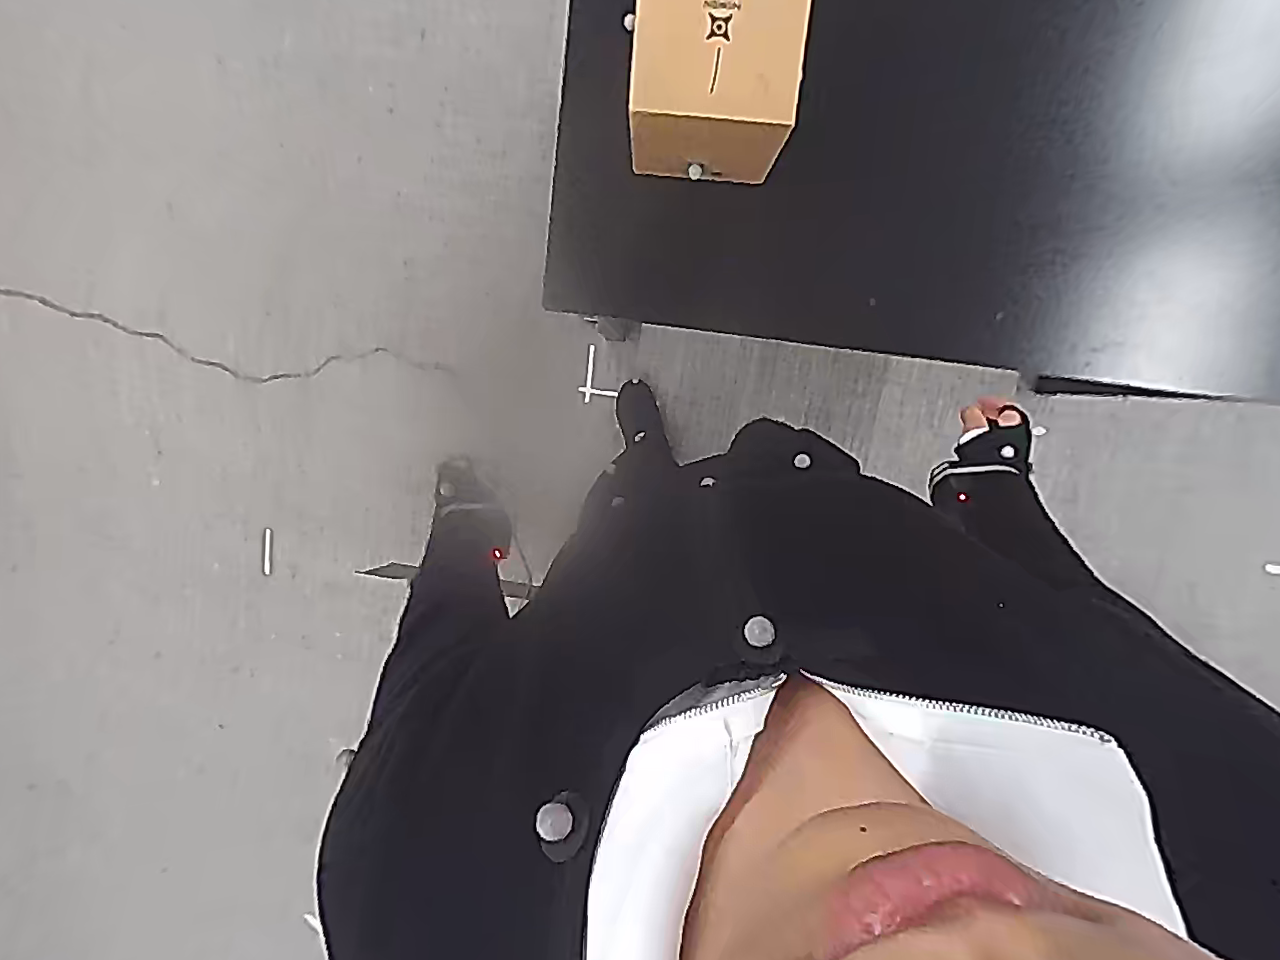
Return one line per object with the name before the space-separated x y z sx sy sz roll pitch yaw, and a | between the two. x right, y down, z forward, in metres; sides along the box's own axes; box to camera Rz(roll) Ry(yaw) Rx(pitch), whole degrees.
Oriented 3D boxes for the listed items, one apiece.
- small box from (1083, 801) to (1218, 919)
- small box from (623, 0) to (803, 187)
small box | 1.288 0.964 1.381 0.168 0.176 0.179 5 102 0
small box | 0.072 -0.452 0.598 0.168 0.176 0.179 5 101 1
